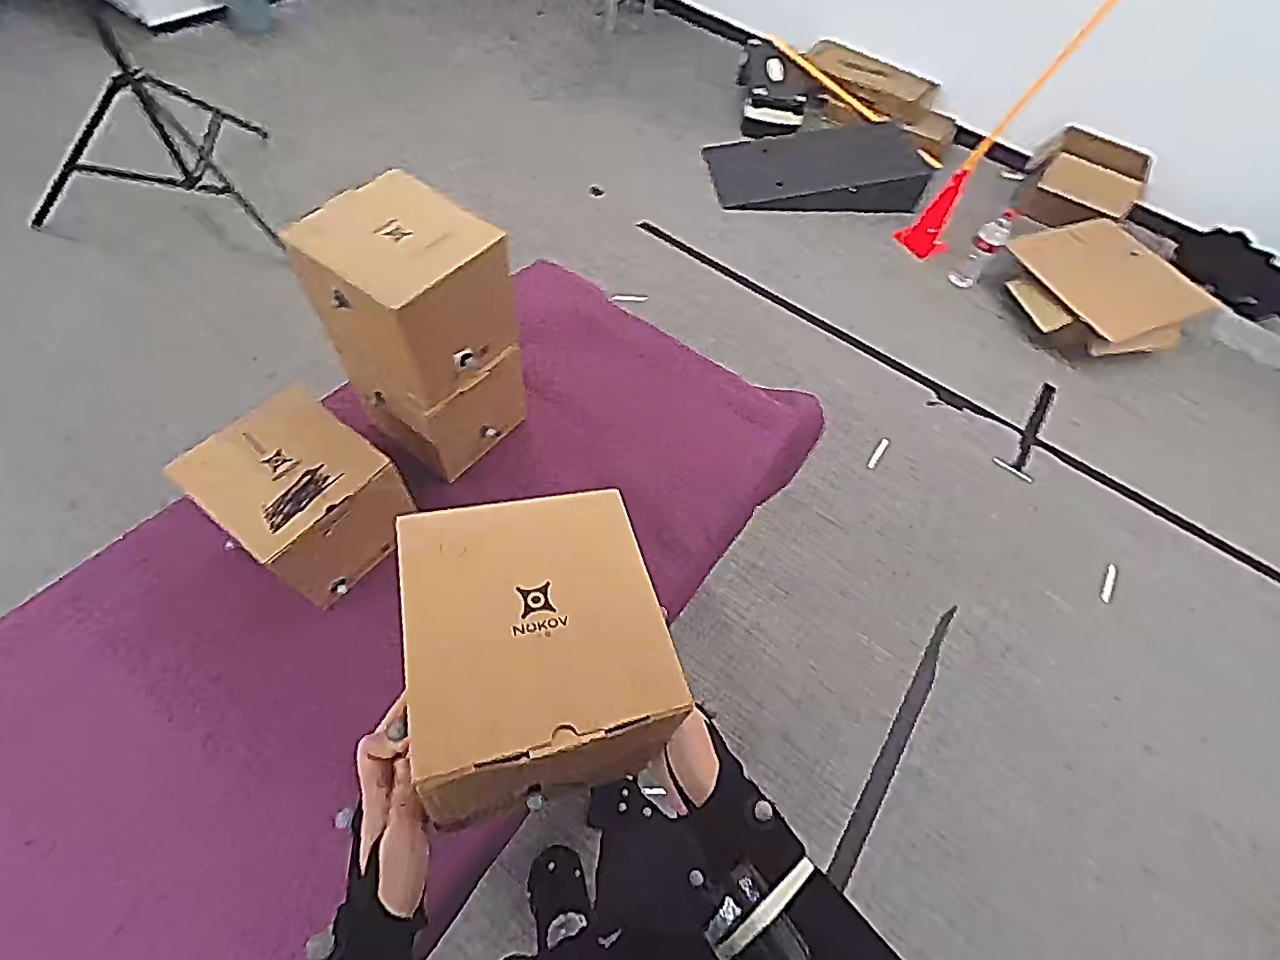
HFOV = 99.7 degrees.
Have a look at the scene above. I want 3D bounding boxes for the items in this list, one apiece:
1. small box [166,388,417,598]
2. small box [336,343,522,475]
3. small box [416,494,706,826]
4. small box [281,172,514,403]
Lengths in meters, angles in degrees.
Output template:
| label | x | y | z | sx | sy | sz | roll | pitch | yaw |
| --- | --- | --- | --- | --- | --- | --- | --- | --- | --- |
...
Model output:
| label | x | y | z | sx | sy | sz | roll | pitch | yaw |
| --- | --- | --- | --- | --- | --- | --- | --- | --- | --- |
| small box | -0.412 | 0.026 | 0.677 | 0.179 | 0.176 | 0.168 | 35 | 61 | 12 |
| small box | -0.293 | -0.138 | 0.791 | 0.179 | 0.176 | 0.168 | 35 | 62 | 12 |
| small box | -0.076 | 0.135 | 0.417 | 0.168 | 0.176 | 0.179 | -7 | 54 | -20 |
| small box | -0.274 | -0.226 | 0.655 | 0.179 | 0.176 | 0.168 | 33 | 62 | 10 |
